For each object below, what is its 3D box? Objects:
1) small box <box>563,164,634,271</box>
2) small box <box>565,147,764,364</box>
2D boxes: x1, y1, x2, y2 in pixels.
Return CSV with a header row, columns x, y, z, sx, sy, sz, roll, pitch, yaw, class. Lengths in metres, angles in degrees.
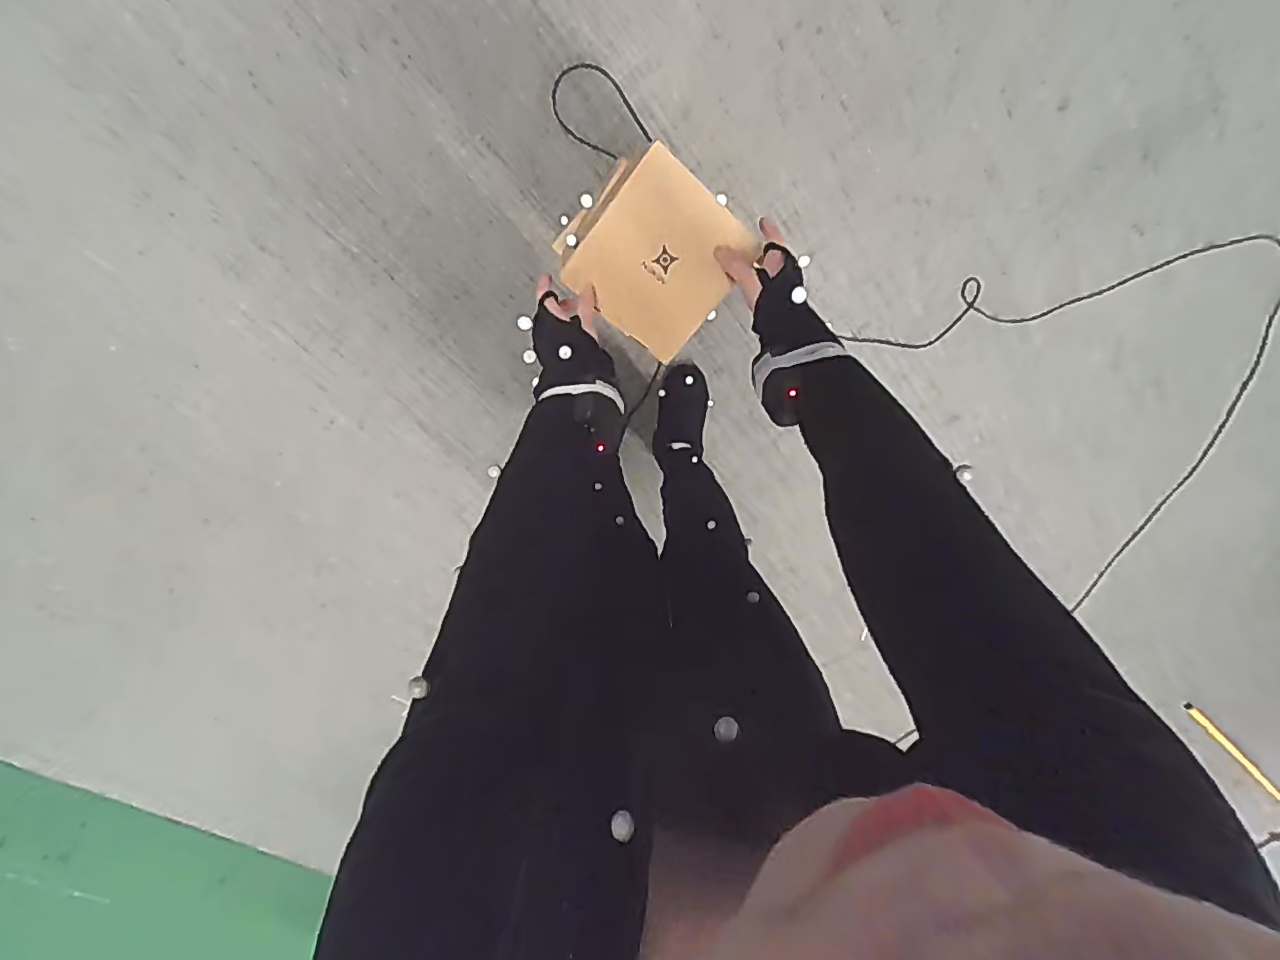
x,y,z,sx,sy,sz,roll,pitch,yaw,class
0.003,-0.356,0.832,0.179,0.176,0.168,31,113,-19,small box
0.022,-0.286,0.685,0.168,0.176,0.179,34,113,-21,small box
